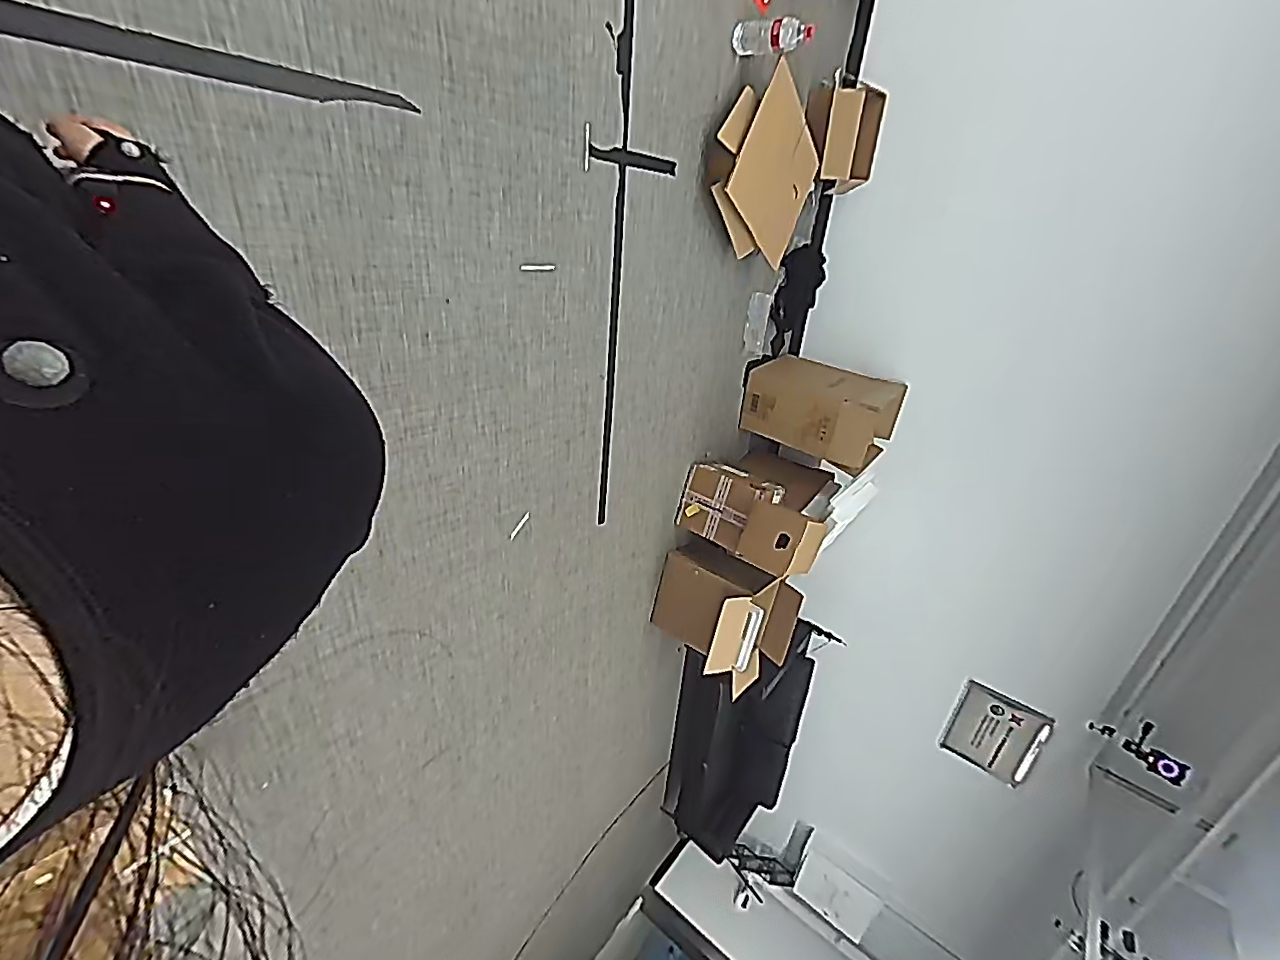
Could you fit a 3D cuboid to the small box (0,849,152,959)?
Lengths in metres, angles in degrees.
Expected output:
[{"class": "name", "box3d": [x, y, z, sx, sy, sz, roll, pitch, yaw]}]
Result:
[{"class": "small box", "box3d": [-1.121, 0.889, 1.067, 0.179, 0.176, 0.168, -26, 129, -45]}]
